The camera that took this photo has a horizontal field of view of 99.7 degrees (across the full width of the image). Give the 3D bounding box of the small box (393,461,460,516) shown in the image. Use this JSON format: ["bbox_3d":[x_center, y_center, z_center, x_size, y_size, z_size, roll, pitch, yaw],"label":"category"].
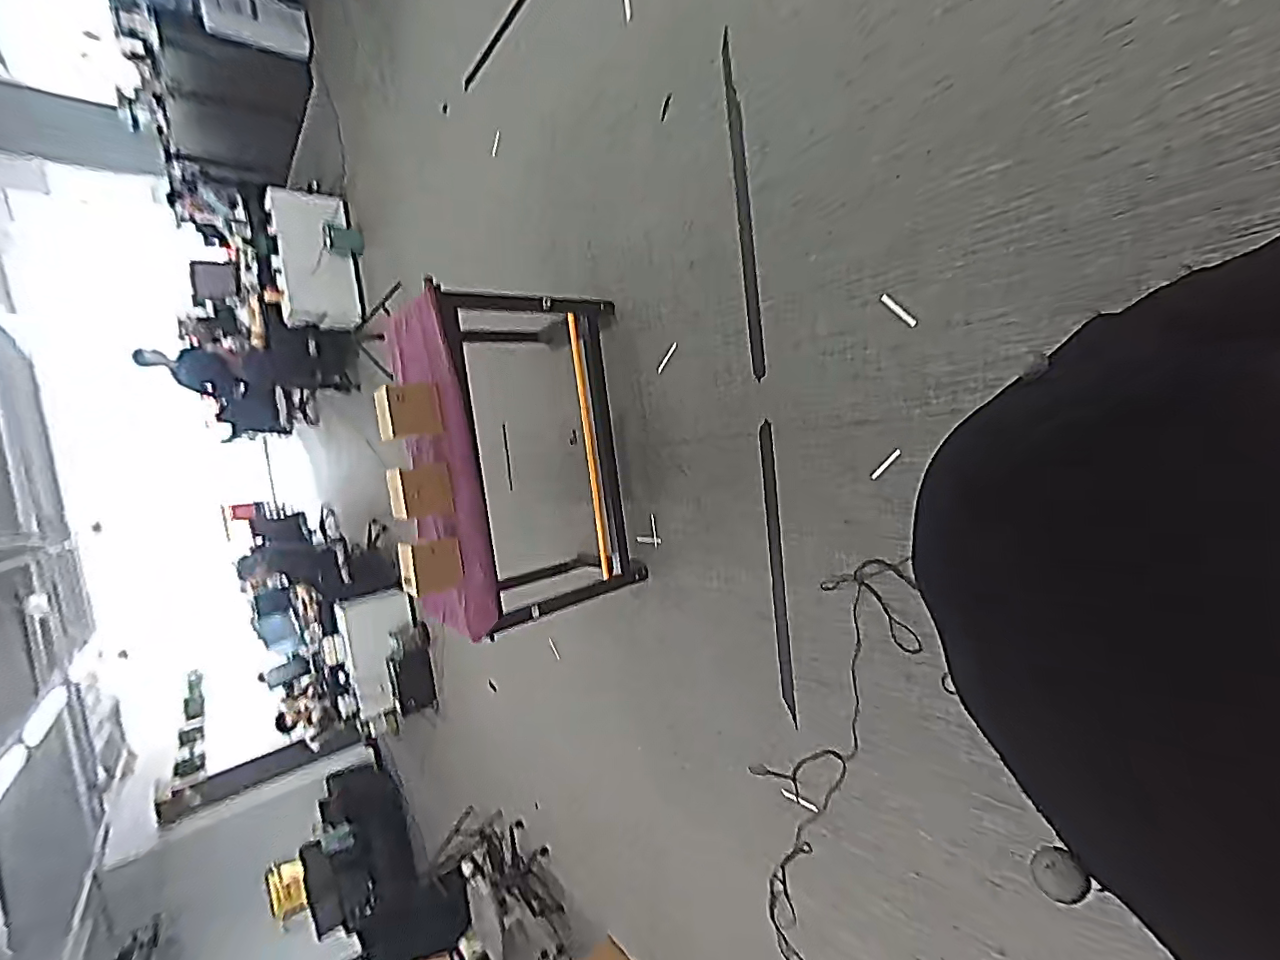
[{"bbox_3d":[-0.764,0.025,1.940,0.168,0.176,0.179,-1,98,51],"label":"small box"}]

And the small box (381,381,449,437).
[{"bbox_3d":[-0.789,-0.249,1.897,0.168,0.176,0.179,-3,97,53],"label":"small box"}]
